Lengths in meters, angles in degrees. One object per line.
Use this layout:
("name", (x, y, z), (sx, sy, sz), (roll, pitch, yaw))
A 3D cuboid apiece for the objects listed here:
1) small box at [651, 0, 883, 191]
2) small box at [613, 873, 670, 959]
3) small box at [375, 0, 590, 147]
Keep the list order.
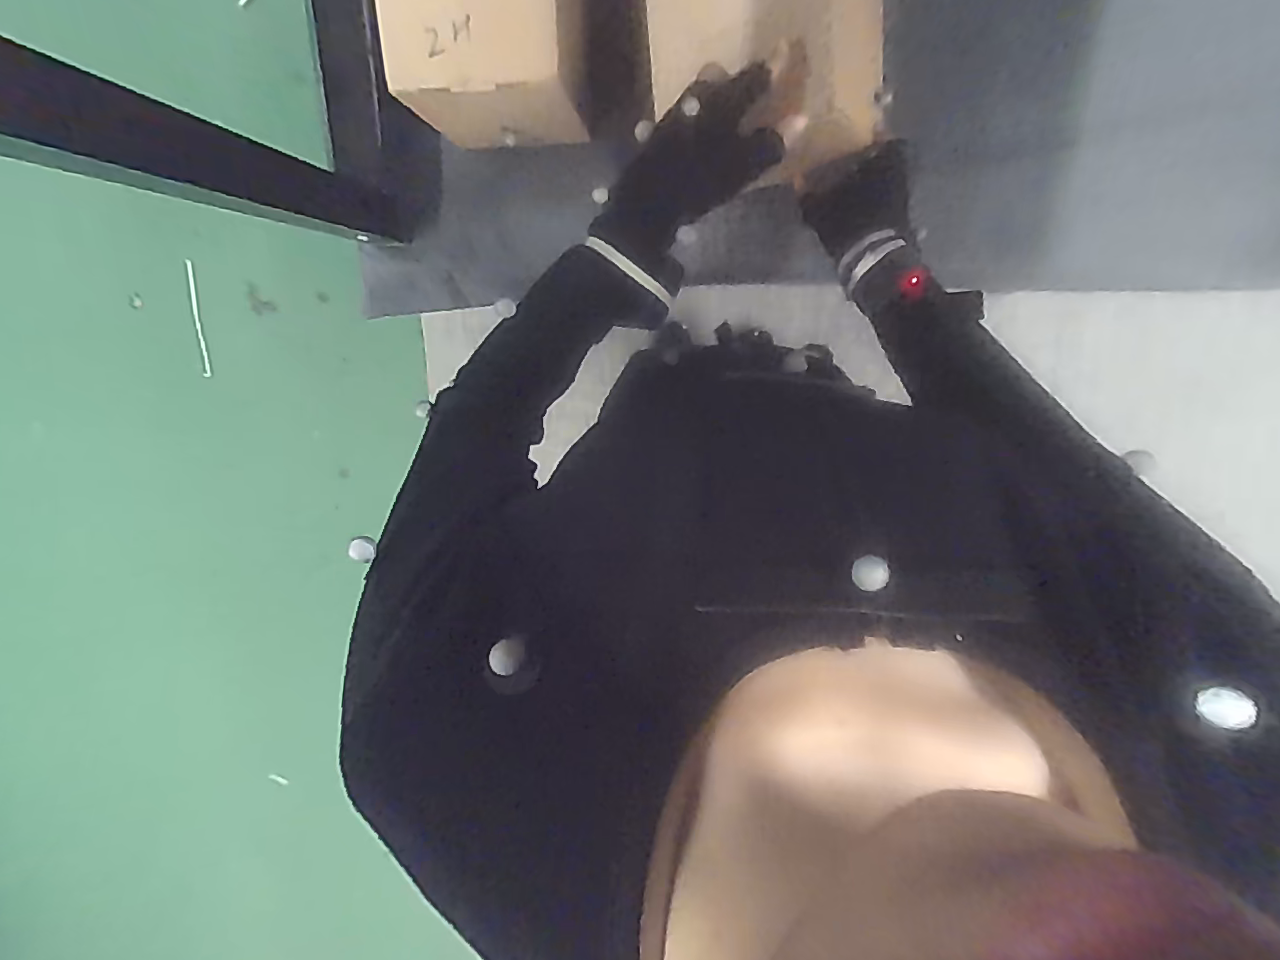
("small box", (0.124, -0.397, 0.506), (0.168, 0.176, 0.179), (4, 107, 35))
("small box", (0.010, 1.495, 1.846), (0.168, 0.176, 0.179), (10, 107, 4))
("small box", (-0.147, -0.465, 0.547), (0.168, 0.176, 0.179), (1, 105, 6))
